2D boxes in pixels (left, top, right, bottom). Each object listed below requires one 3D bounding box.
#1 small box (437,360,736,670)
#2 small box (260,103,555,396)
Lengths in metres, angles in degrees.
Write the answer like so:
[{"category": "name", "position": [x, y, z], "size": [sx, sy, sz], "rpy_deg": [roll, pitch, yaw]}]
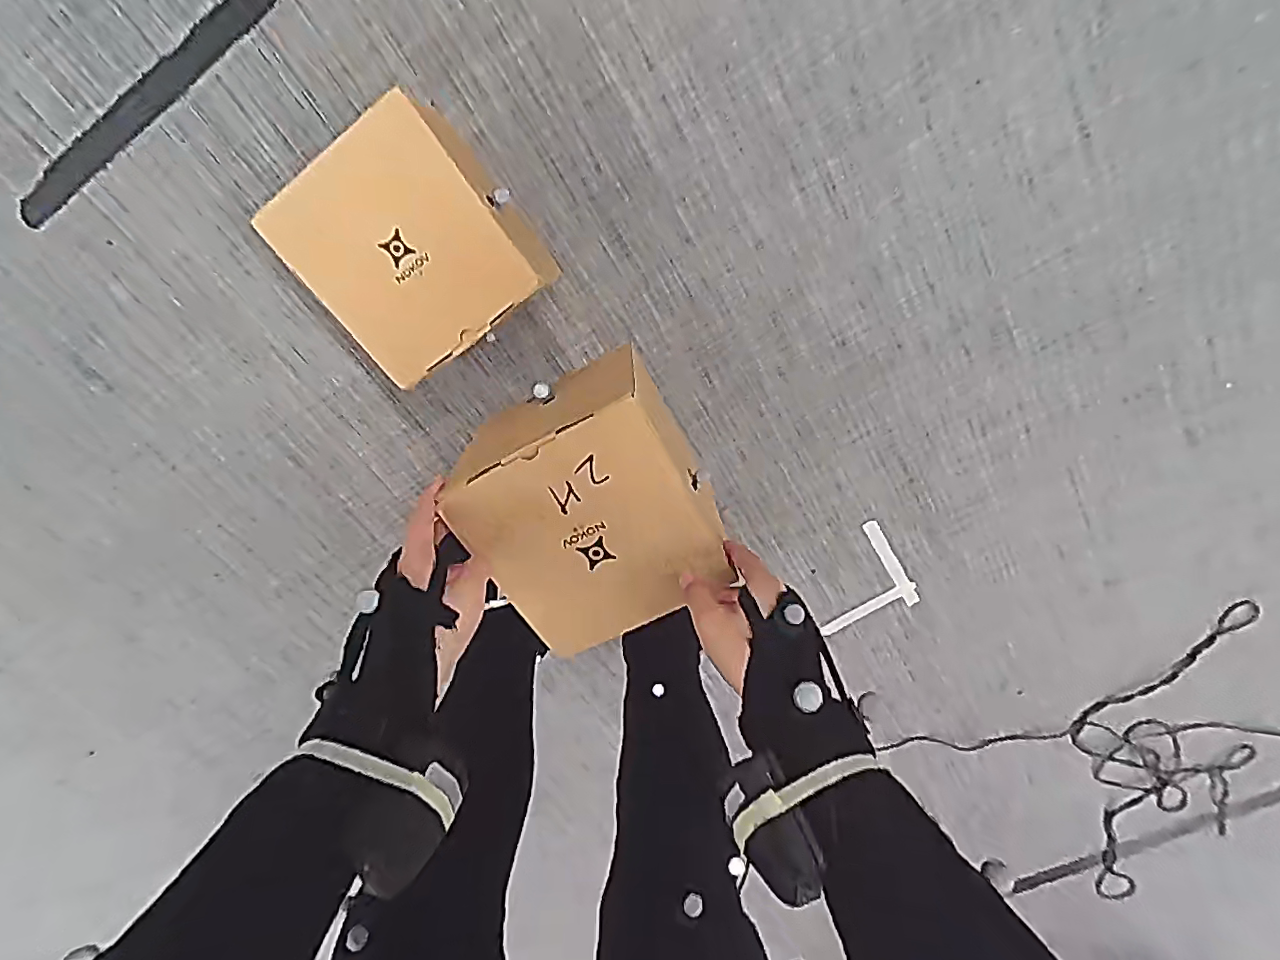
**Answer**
[{"category": "small box", "position": [-0.036, 0.021, 0.471], "size": [0.168, 0.176, 0.179], "rpy_deg": [-27, 114, 10]}, {"category": "small box", "position": [-0.202, -0.213, 0.528], "size": [0.168, 0.176, 0.179], "rpy_deg": [-33, 112, 11]}]
